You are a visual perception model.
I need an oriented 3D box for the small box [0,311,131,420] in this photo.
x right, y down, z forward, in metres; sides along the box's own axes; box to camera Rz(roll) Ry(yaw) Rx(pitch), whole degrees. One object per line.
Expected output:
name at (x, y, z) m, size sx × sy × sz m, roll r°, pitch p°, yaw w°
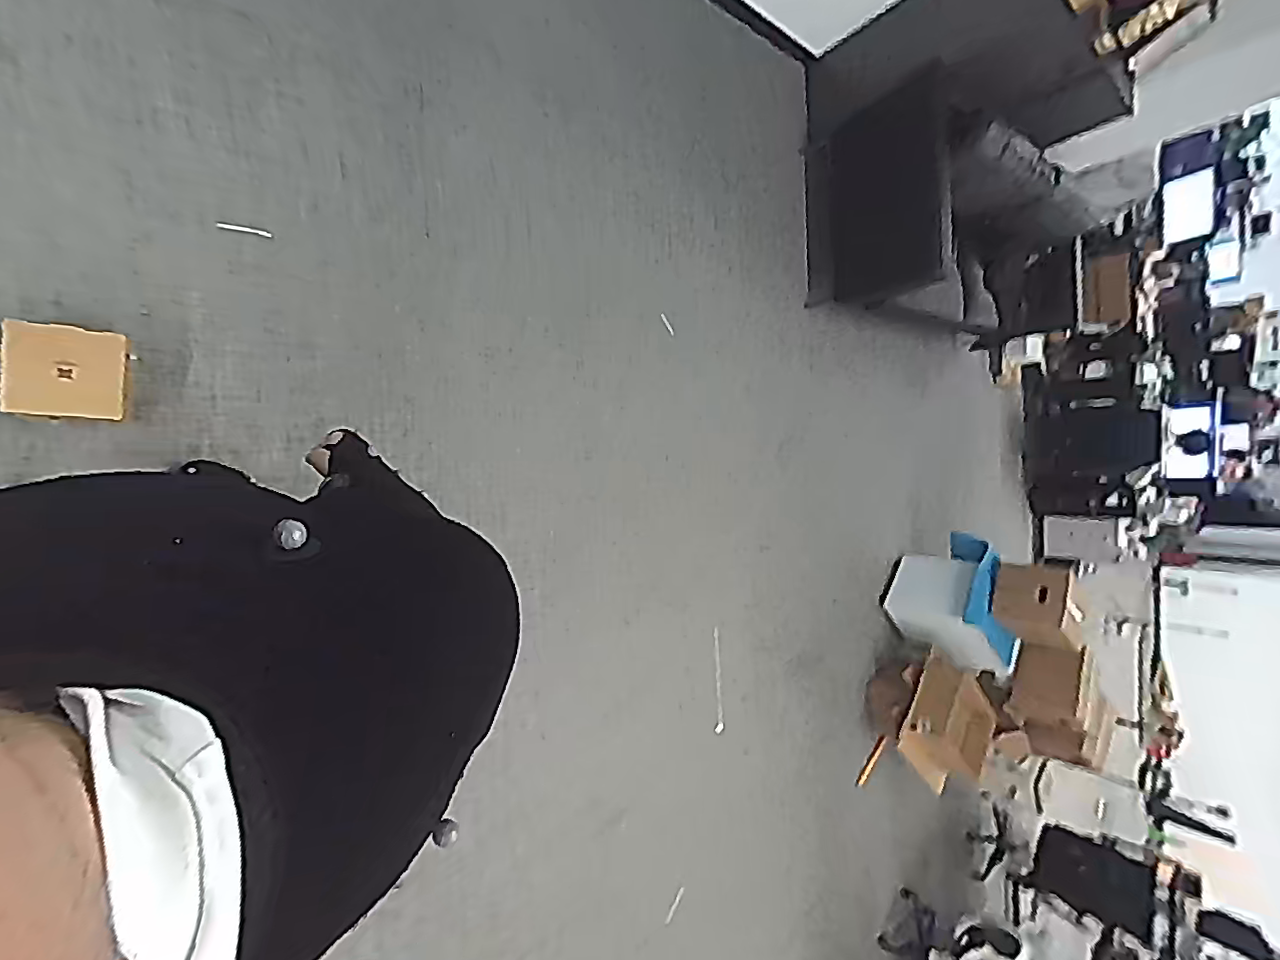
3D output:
small box at (-1.155, -0.219, 1.096) m, size 0.168 × 0.176 × 0.179 m, roll 2°, pitch 88°, yaw -39°
